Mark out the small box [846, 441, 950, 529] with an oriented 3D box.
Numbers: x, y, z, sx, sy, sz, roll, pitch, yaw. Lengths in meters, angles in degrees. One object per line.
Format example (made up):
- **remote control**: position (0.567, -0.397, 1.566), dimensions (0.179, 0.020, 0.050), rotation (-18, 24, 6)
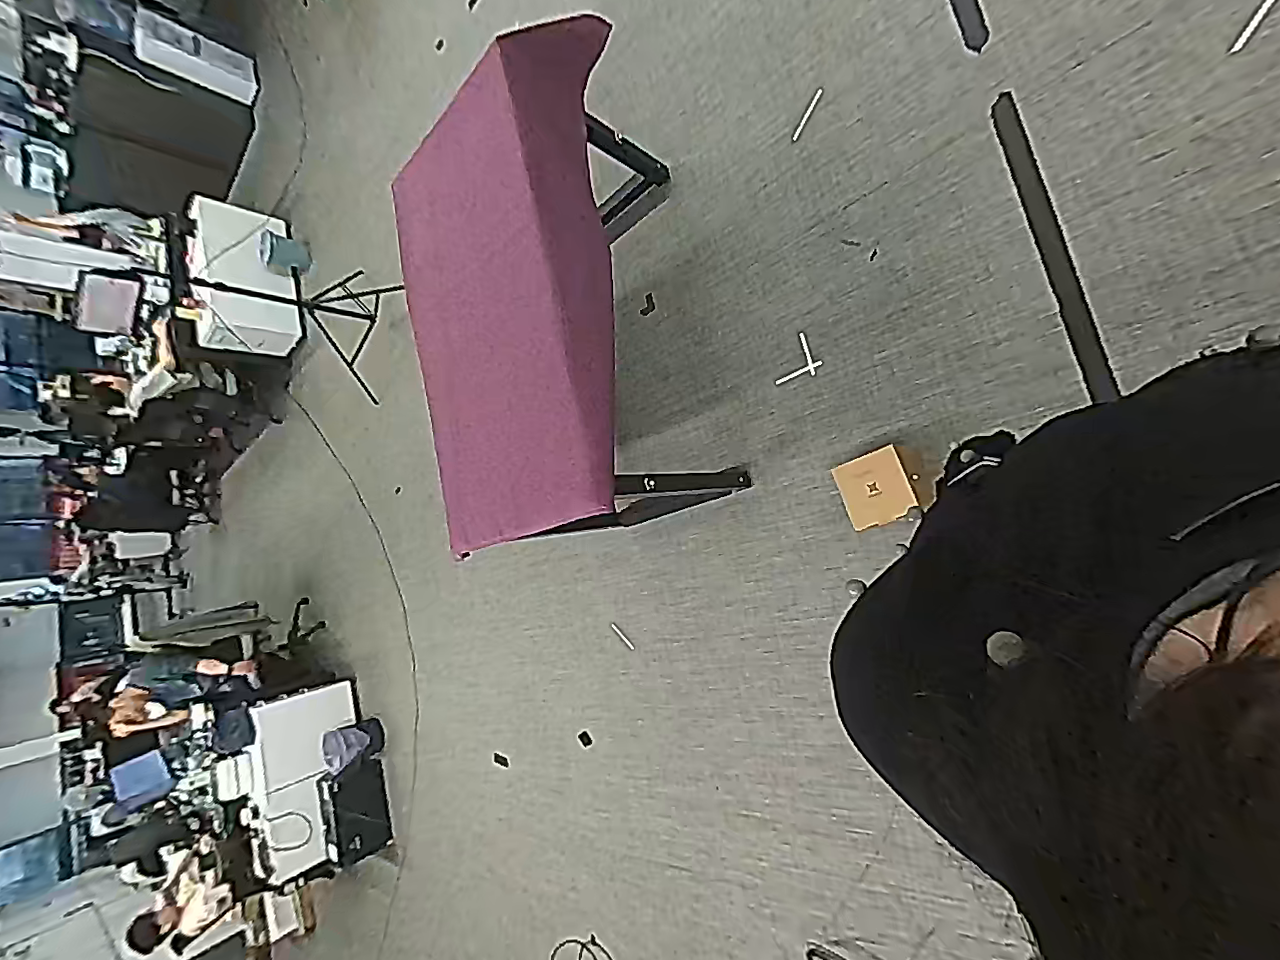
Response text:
- **small box**: position (0.666, 0.012, 1.387), dimensions (0.168, 0.176, 0.179), rotation (-29, 72, 38)
